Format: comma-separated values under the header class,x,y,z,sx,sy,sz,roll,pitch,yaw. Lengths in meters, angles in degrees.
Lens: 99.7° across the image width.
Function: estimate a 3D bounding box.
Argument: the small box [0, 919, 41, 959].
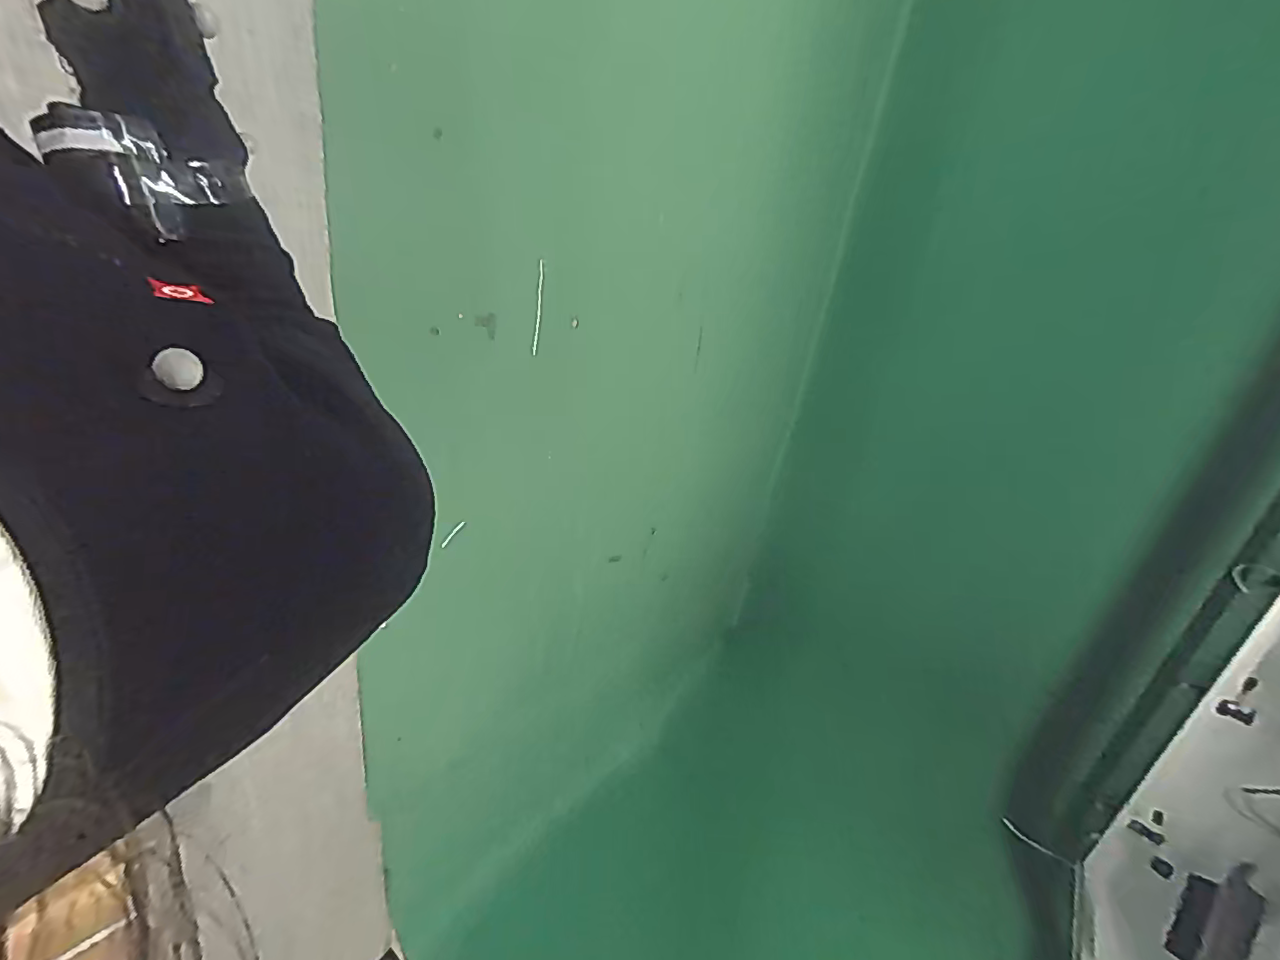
class,x,y,z,sx,sy,sz,roll,pitch,yaw
small box,-1.199,0.958,0.969,0.179,0.176,0.168,-10,118,-51
